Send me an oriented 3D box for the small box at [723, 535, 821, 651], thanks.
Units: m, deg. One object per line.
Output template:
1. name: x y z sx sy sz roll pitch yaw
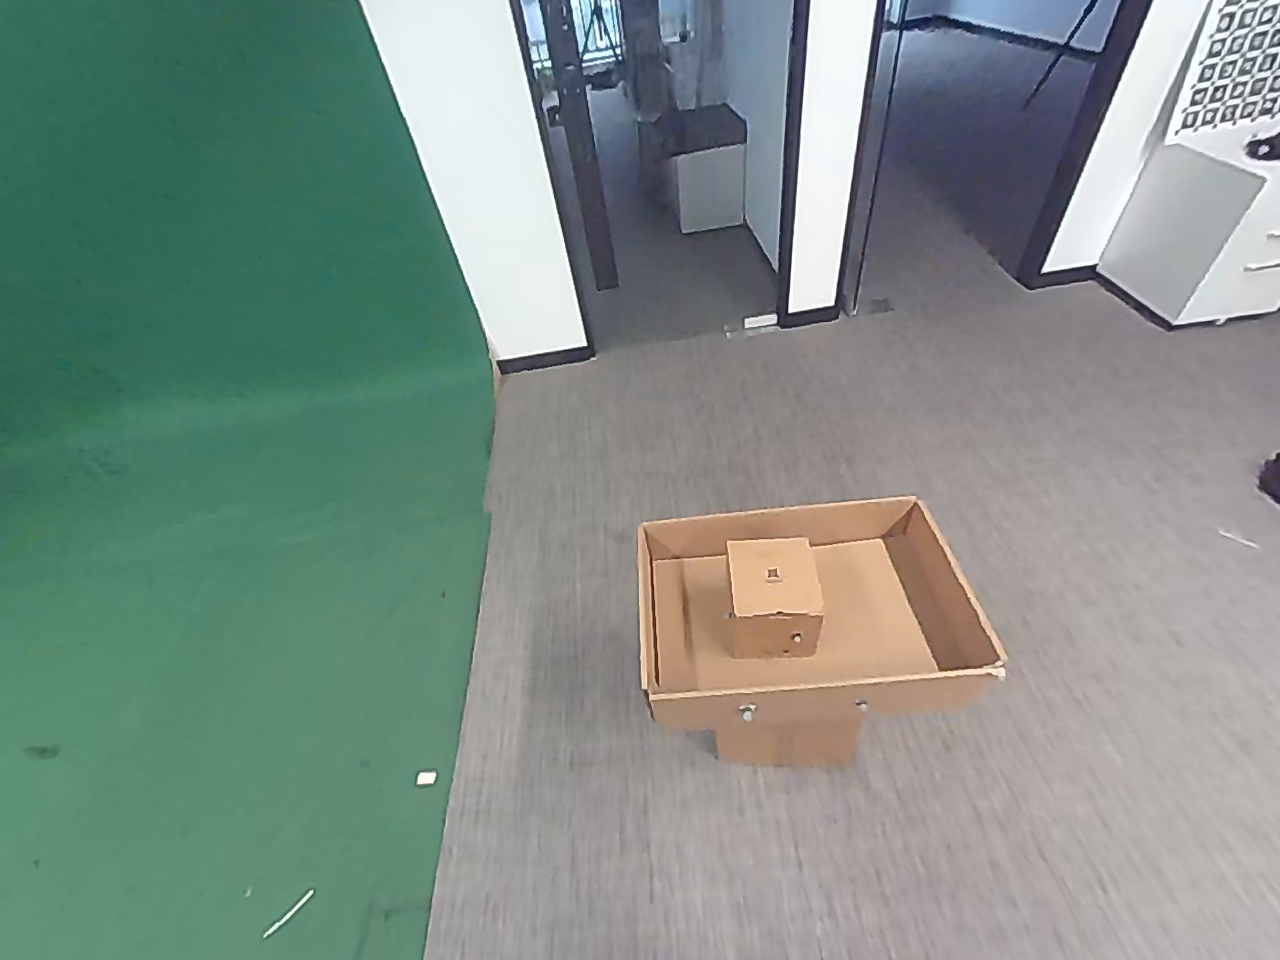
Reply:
1. small box: 0.259 0.234 1.097 0.168 0.176 0.179 -3 44 4
